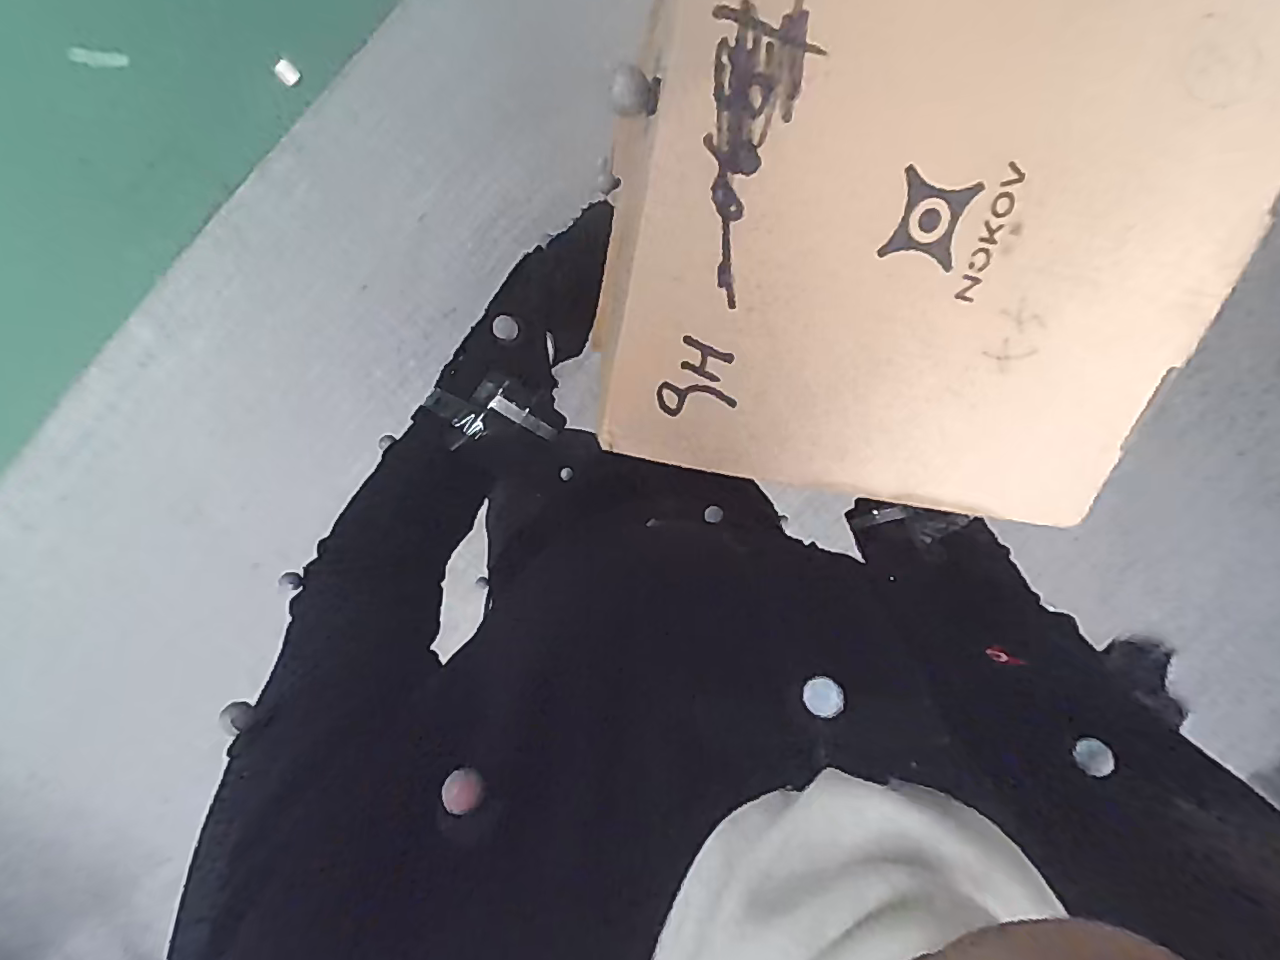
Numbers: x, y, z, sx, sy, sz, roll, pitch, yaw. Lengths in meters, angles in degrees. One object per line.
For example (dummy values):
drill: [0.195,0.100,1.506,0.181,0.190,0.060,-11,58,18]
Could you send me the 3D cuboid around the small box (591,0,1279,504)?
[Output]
small box: [0.078,-0.108,0.225,0.179,0.176,0.168,8,113,-7]
